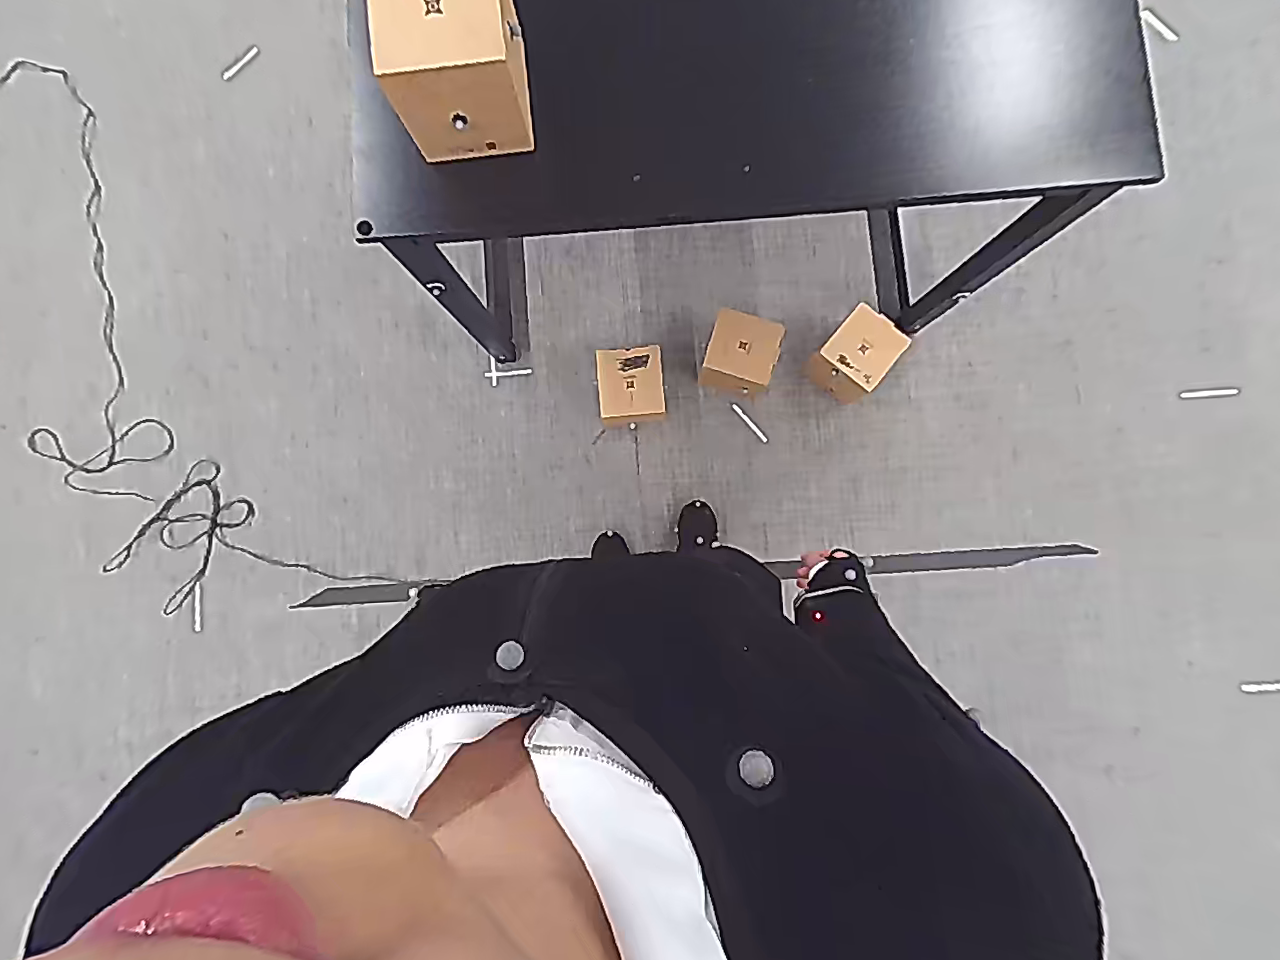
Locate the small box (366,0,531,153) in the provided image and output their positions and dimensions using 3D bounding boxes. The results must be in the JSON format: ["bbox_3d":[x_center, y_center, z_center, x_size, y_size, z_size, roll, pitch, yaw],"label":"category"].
[{"bbox_3d":[-0.253,-0.582,0.745,0.168,0.176,0.179,-6,86,0],"label":"small box"}]

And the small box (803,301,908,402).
[{"bbox_3d":[0.566,-0.336,1.446,0.168,0.176,0.179,39,88,3],"label":"small box"}]

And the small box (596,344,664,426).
[{"bbox_3d":[-0.026,-0.250,1.452,0.168,0.176,0.179,-5,88,1],"label":"small box"}]

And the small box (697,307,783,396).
[{"bbox_3d":[0.263,-0.337,1.454,0.179,0.176,0.168,17,86,3],"label":"small box"}]
